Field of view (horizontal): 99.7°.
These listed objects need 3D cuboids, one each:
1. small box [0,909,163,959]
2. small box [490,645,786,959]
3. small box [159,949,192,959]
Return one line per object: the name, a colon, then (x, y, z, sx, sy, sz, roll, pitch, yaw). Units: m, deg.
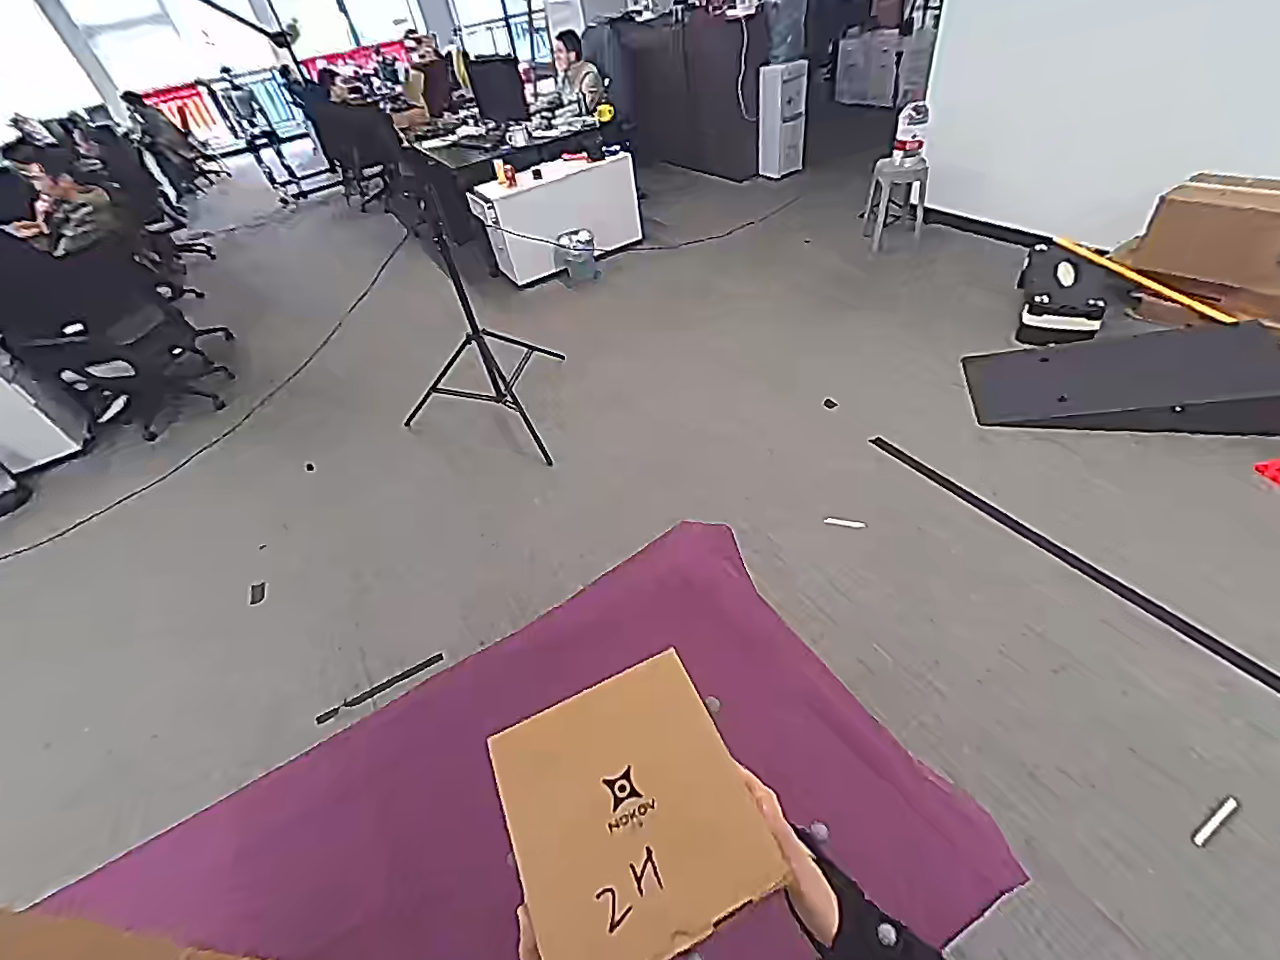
small box: (-0.502, 0.480, 0.405, 0.168, 0.176, 0.179, -27, 45, -16)
small box: (-0.004, 0.276, 0.446, 0.168, 0.176, 0.179, -23, 50, -11)
small box: (-0.475, 0.601, 0.513, 0.168, 0.176, 0.179, -27, 45, -16)
